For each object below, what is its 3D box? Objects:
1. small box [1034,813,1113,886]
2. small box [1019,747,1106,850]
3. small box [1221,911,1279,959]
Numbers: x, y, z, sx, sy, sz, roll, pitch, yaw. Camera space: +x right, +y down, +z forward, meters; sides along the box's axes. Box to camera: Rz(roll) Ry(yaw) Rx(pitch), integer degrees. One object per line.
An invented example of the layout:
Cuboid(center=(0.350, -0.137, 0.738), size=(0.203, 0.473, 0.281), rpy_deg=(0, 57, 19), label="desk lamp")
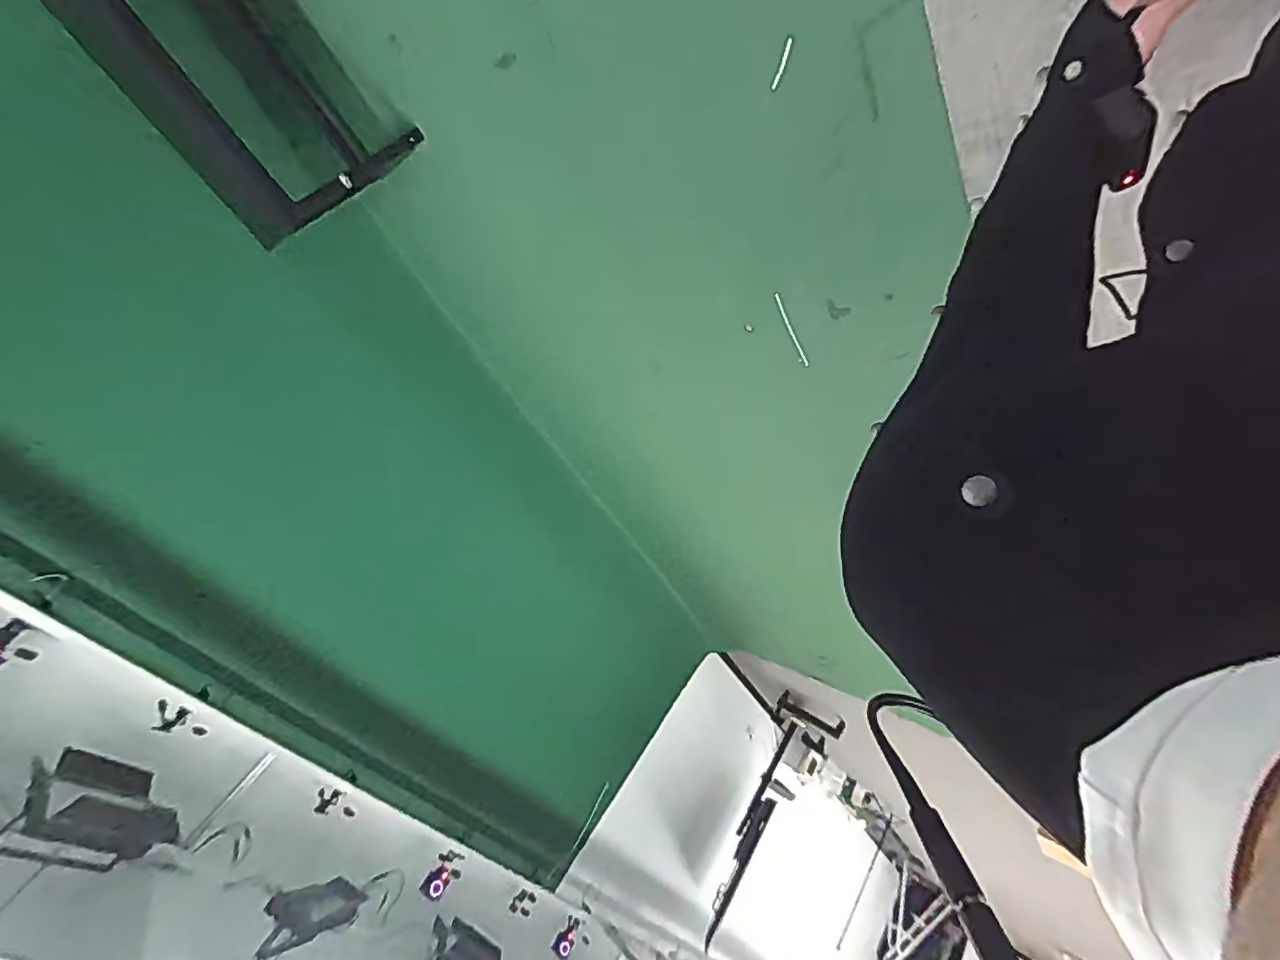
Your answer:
Cuboid(center=(1.395, 1.141, 1.733), size=(0.168, 0.176, 0.179), rpy_deg=(7, 141, 49), label="small box")
Cuboid(center=(1.233, 0.919, 1.572), size=(0.168, 0.176, 0.179), rpy_deg=(6, 140, 48), label="small box")
Cuboid(center=(1.662, 1.181, 1.423), size=(0.168, 0.176, 0.179), rpy_deg=(4, 137, 51), label="small box")
